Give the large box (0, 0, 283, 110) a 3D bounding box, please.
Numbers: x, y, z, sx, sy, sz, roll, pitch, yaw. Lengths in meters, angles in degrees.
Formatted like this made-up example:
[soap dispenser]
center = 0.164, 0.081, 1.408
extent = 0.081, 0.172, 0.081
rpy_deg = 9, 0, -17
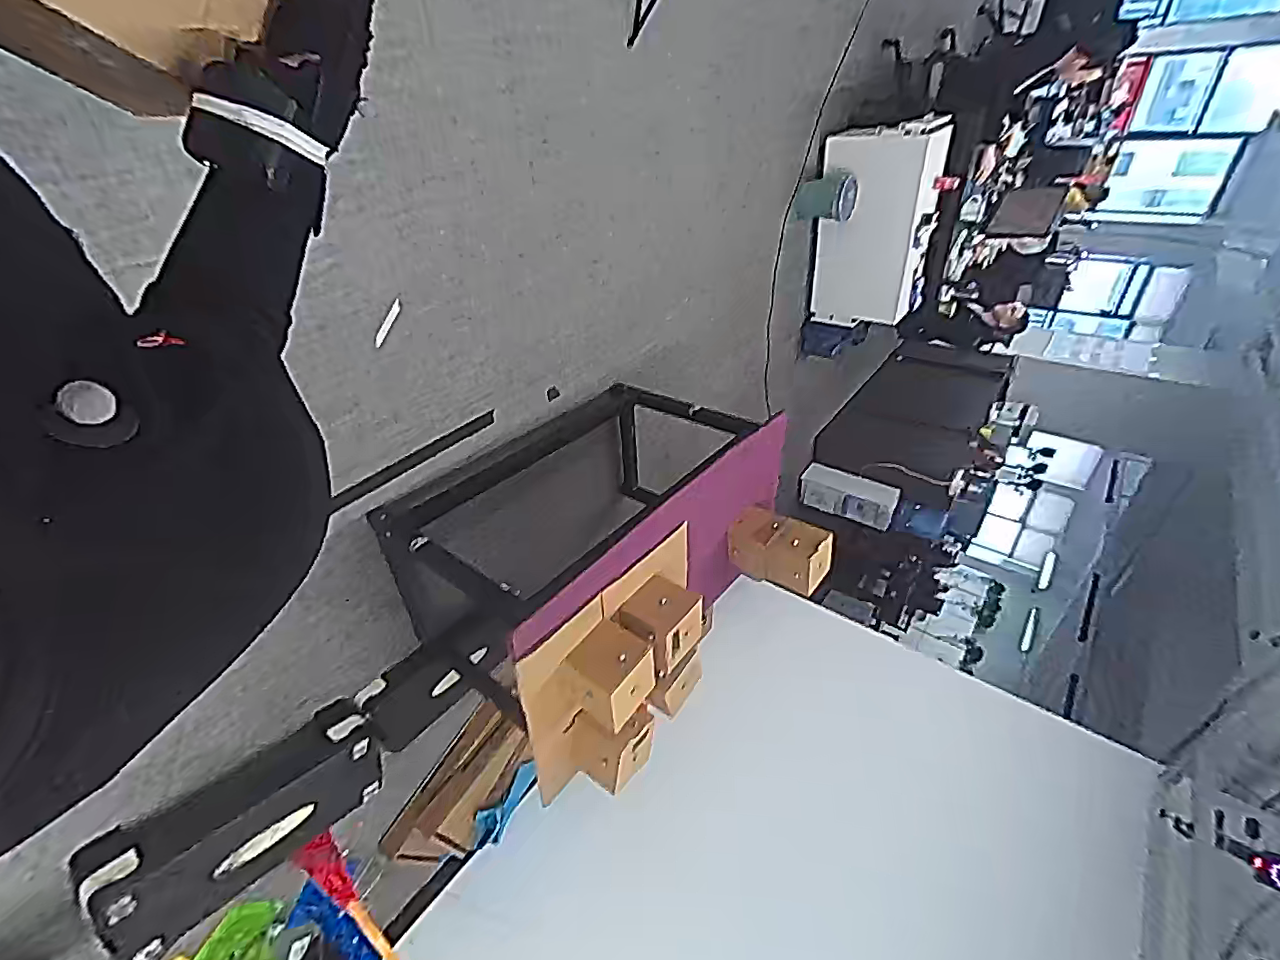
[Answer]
[large box]
center = -0.454, -0.484, 0.295
extent = 0.408, 0.320, 0.320
rpy_deg = 11, 104, -56
